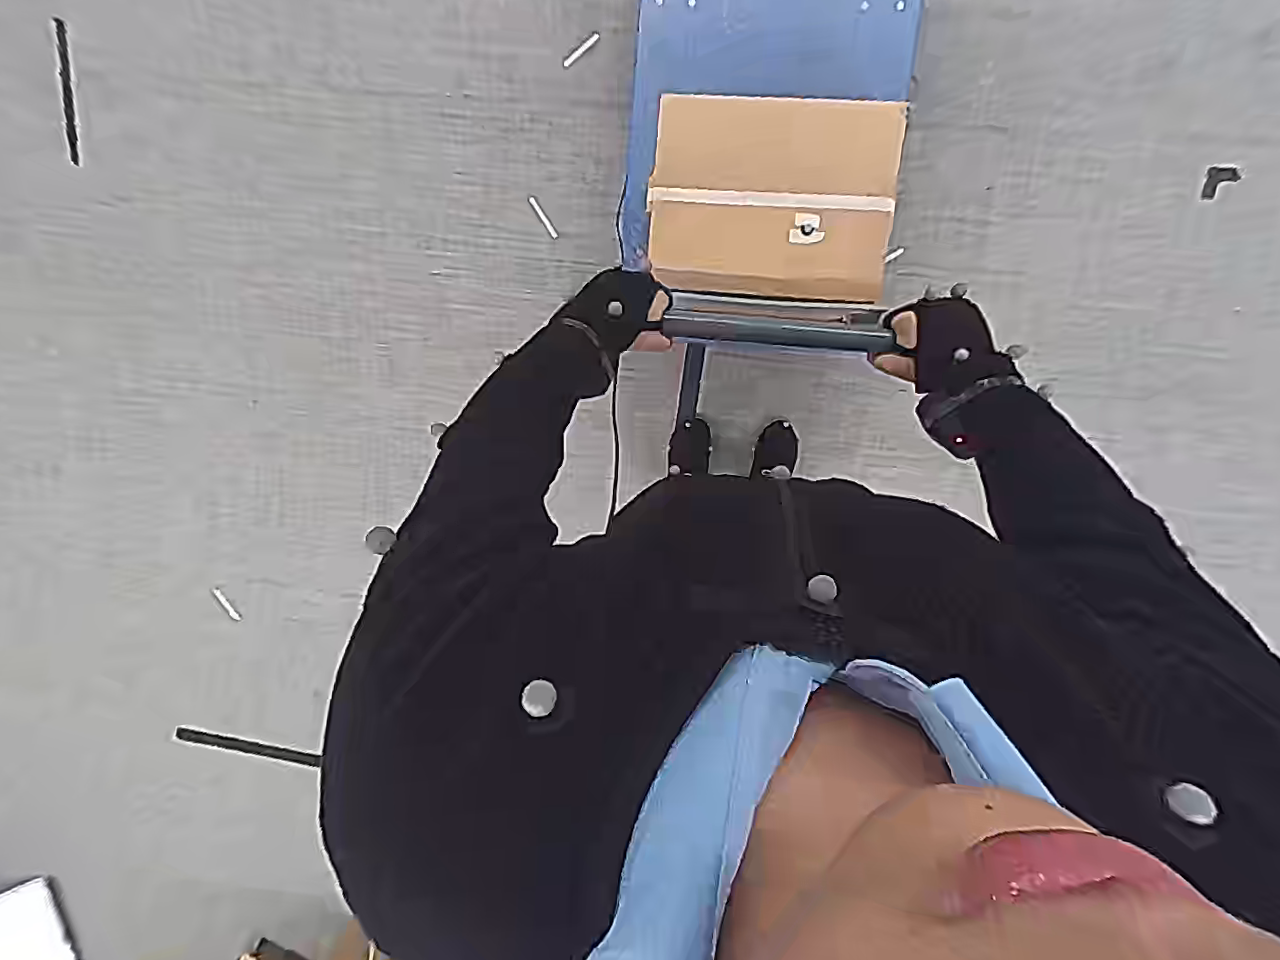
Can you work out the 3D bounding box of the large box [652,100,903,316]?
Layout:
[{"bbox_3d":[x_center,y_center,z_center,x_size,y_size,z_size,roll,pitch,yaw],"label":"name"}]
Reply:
[{"bbox_3d":[0.241,-0.510,1.077,0.408,0.320,0.320,5,102,5],"label":"large box"}]
